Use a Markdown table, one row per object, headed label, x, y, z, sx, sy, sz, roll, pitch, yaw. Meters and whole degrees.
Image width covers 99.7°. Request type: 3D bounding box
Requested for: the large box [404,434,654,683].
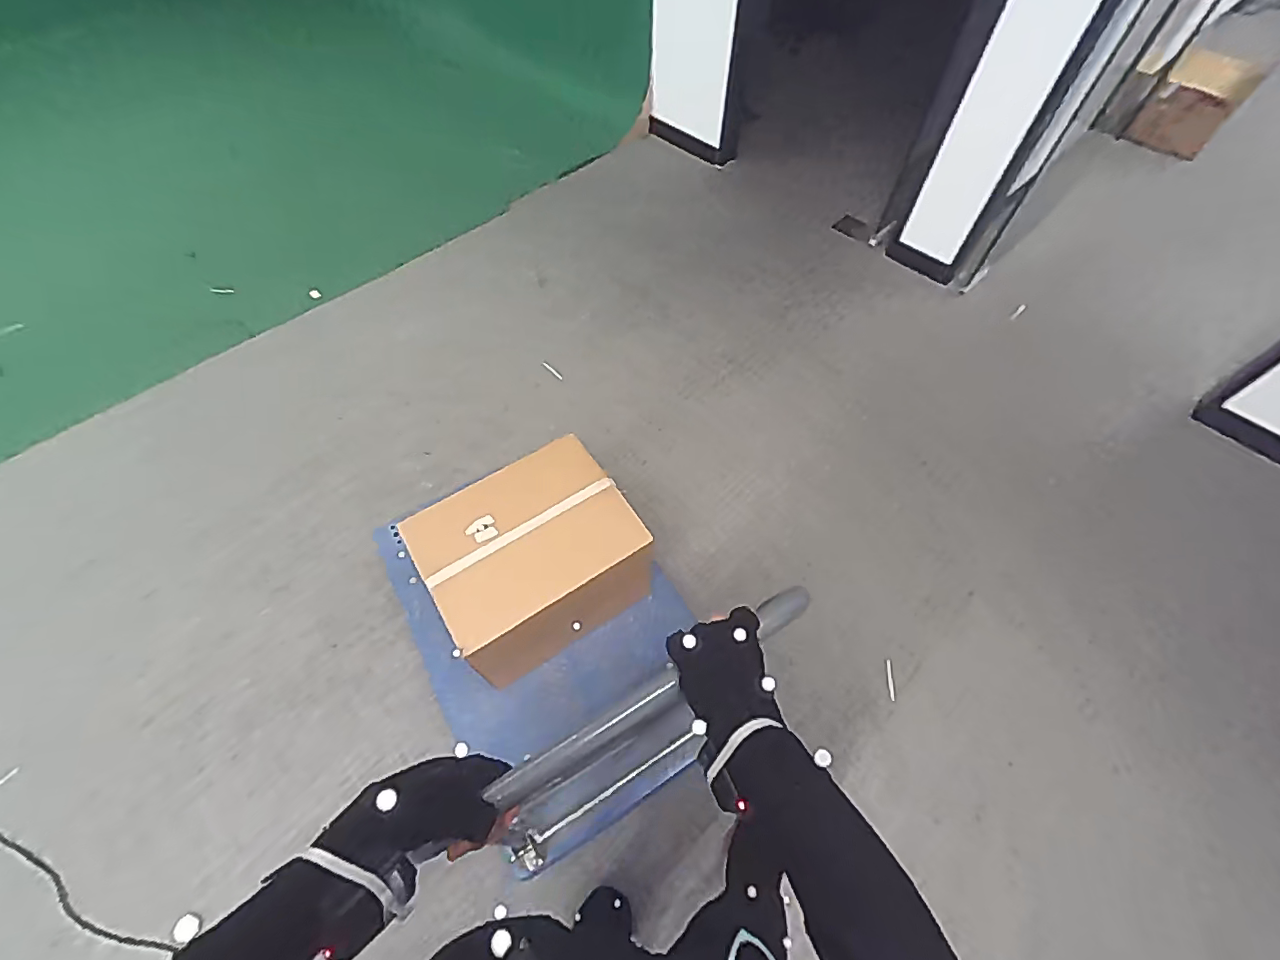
| label | x | y | z | sx | sy | sz | roll | pitch | yaw |
| --- | --- | --- | --- | --- | --- | --- | --- | --- | --- |
| large box | -0.219 | 0.176 | 1.185 | 0.408 | 0.320 | 0.320 | -31 | 64 | -17 |
